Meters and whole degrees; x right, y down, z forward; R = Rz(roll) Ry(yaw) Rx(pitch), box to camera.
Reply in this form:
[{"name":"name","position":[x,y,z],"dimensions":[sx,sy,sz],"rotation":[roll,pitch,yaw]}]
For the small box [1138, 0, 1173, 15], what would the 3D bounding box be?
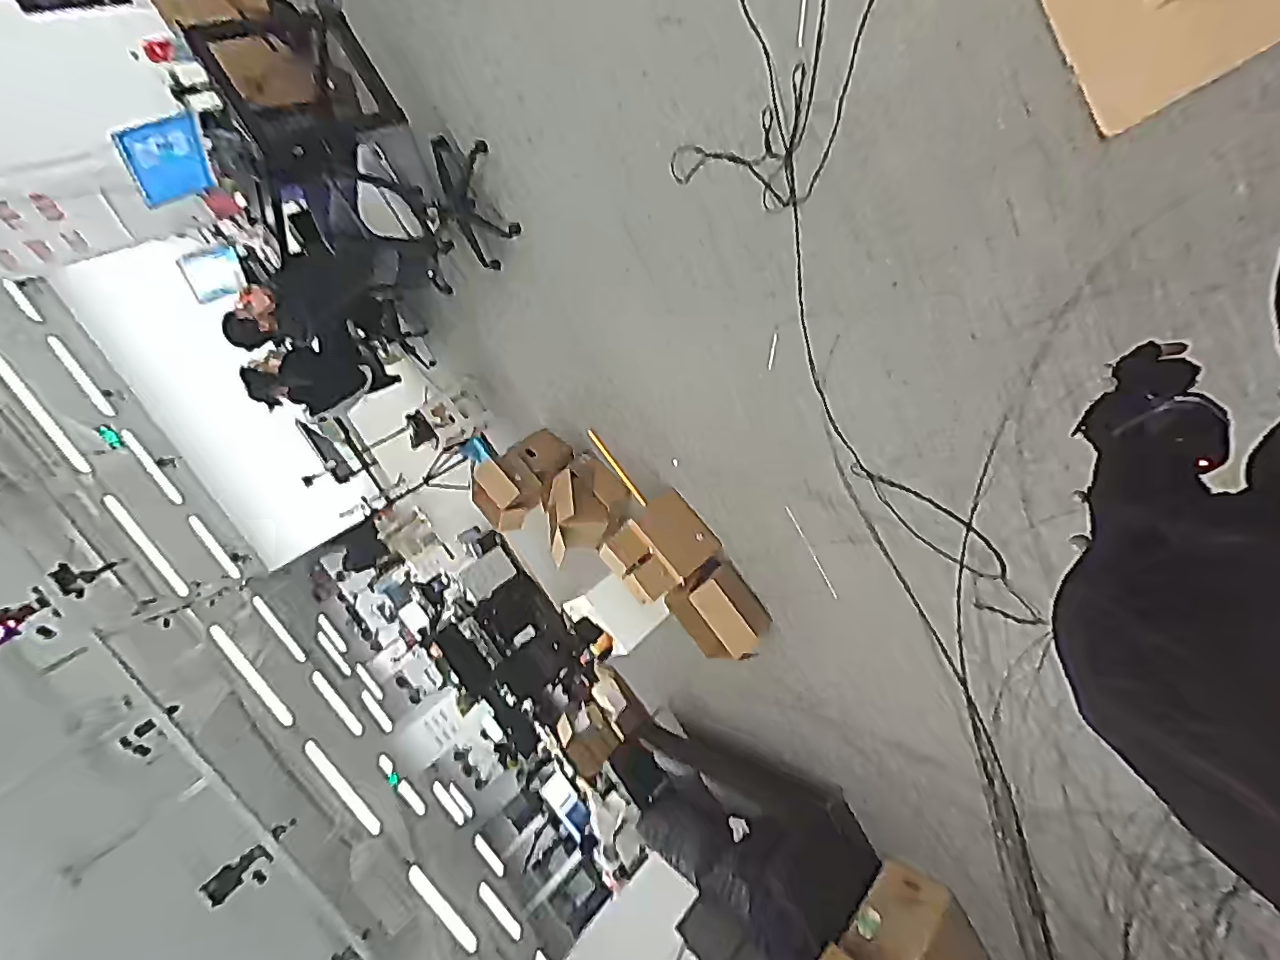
[{"name":"small box","position":[0.807,-0.827,0.771],"dimensions":[0.179,0.176,0.168],"rotation":[56,152,-4]}]
